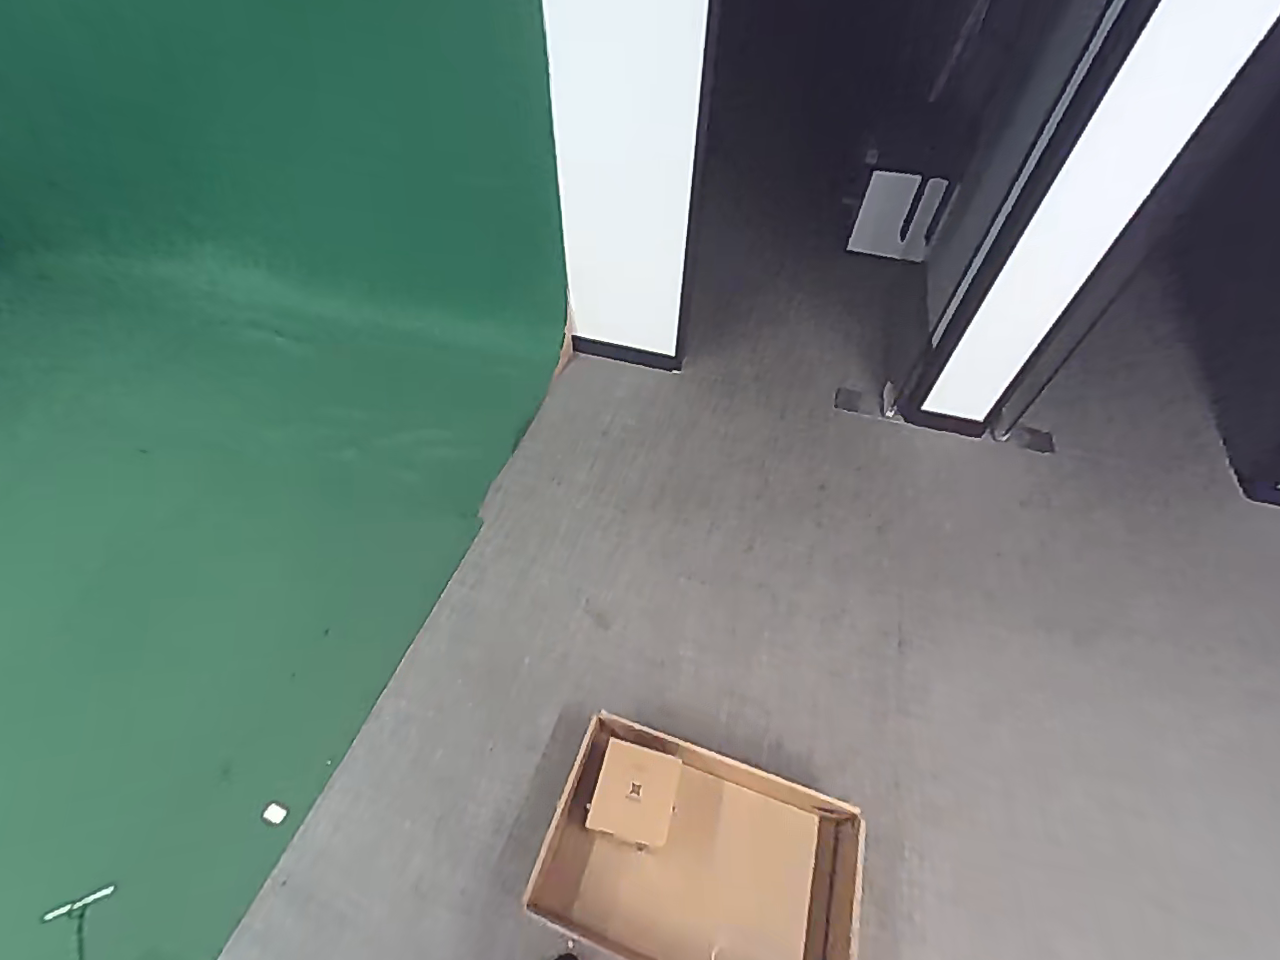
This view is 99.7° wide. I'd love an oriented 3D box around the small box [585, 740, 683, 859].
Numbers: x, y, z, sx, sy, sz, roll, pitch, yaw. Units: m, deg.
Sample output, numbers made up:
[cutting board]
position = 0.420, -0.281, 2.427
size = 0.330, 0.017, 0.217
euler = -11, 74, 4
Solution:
[small box]
position = -0.009, 0.702, 1.180
size = 0.168, 0.176, 0.179
euler = 14, 53, 9
